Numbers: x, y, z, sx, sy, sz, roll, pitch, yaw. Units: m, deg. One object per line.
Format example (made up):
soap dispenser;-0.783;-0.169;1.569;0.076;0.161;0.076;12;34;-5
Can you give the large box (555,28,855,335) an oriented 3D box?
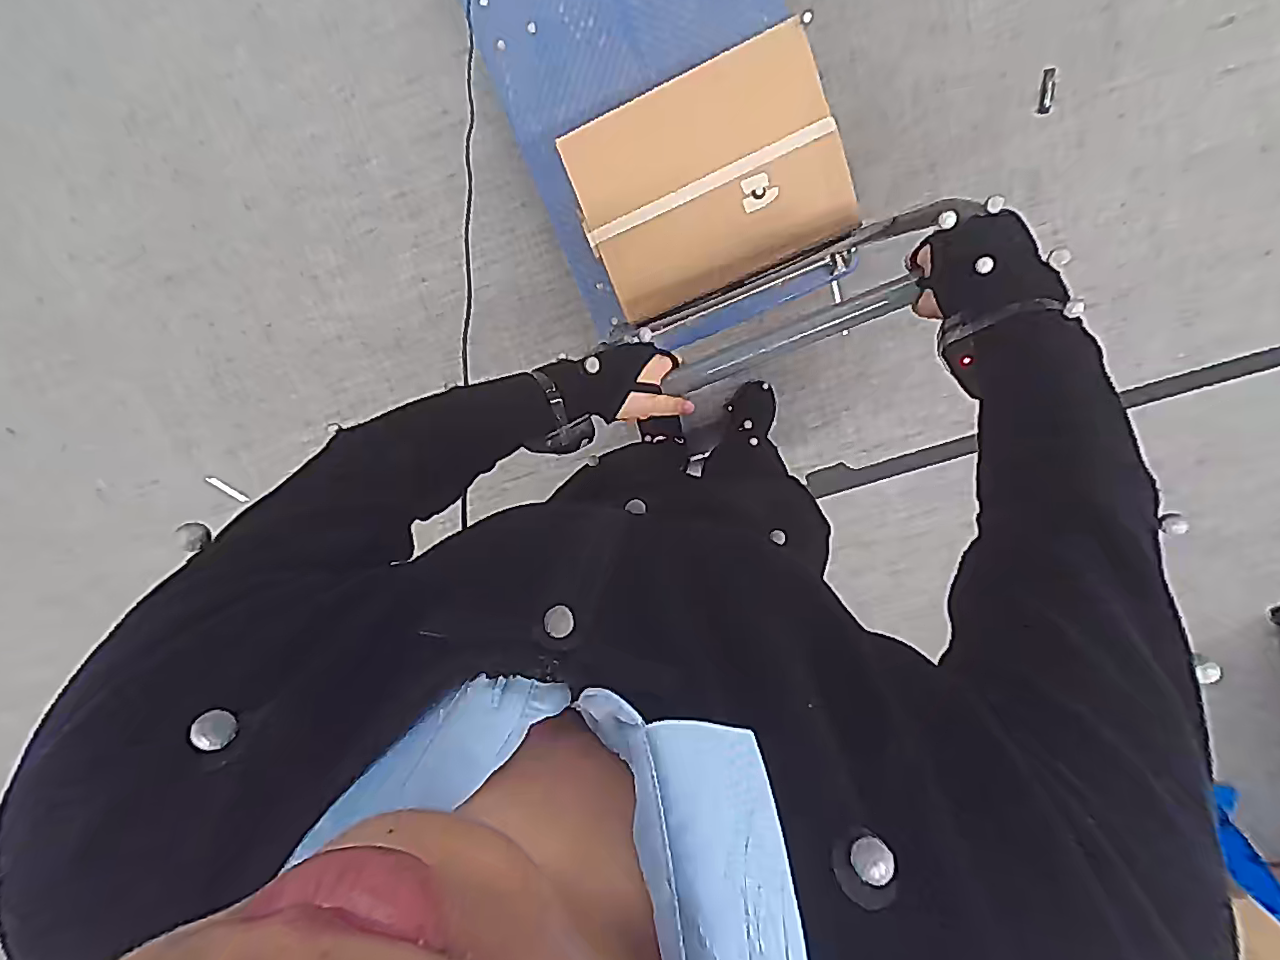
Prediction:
large box;0.112;-0.492;0.999;0.408;0.320;0.320;-21;103;10
